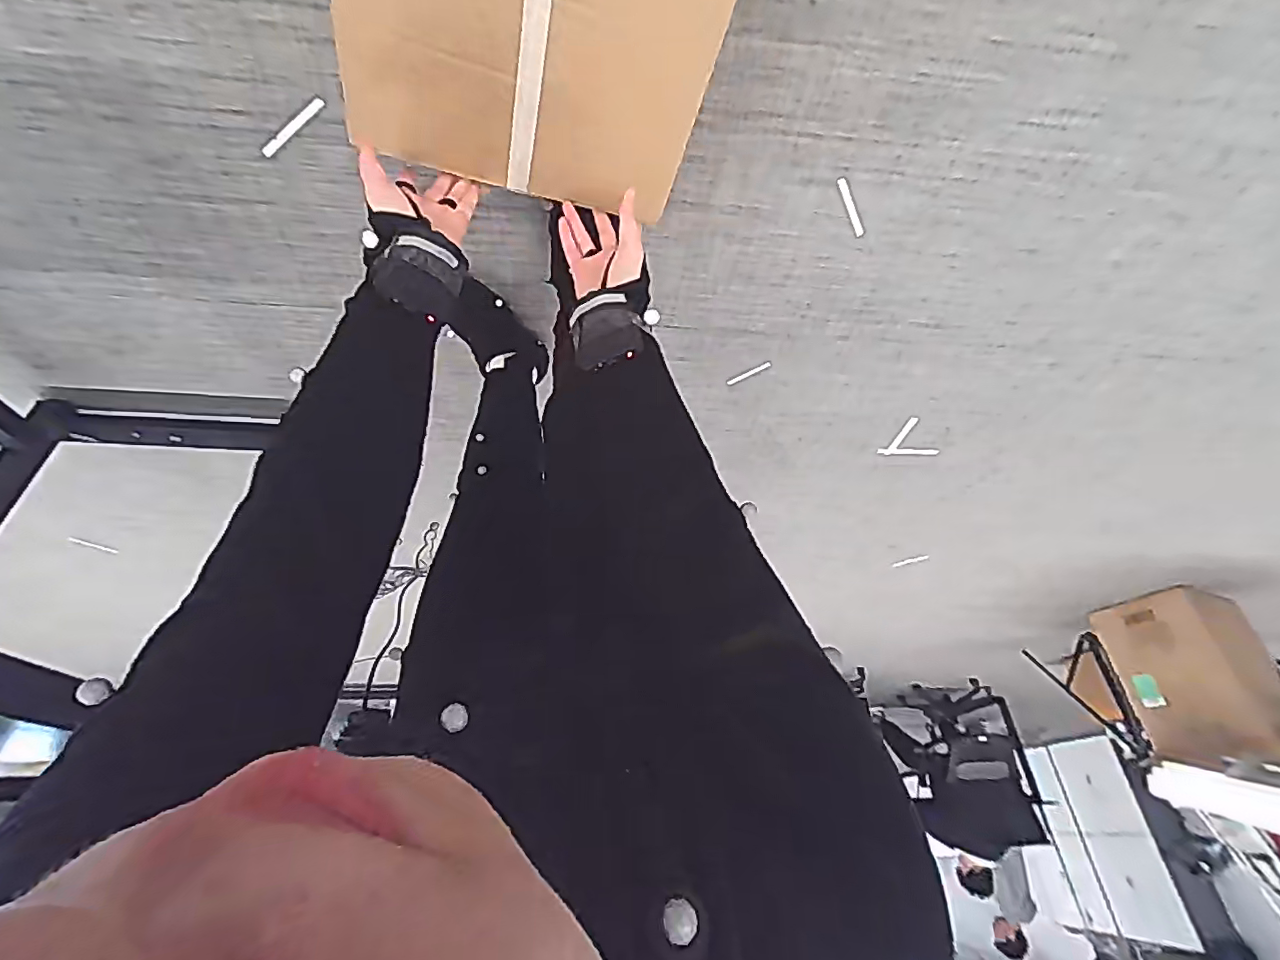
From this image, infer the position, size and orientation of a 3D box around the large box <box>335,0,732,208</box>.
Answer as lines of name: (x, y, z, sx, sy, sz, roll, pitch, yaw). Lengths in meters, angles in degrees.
large box: (-0.073, -0.539, 0.471, 0.320, 0.320, 0.408, 7, 145, -15)
